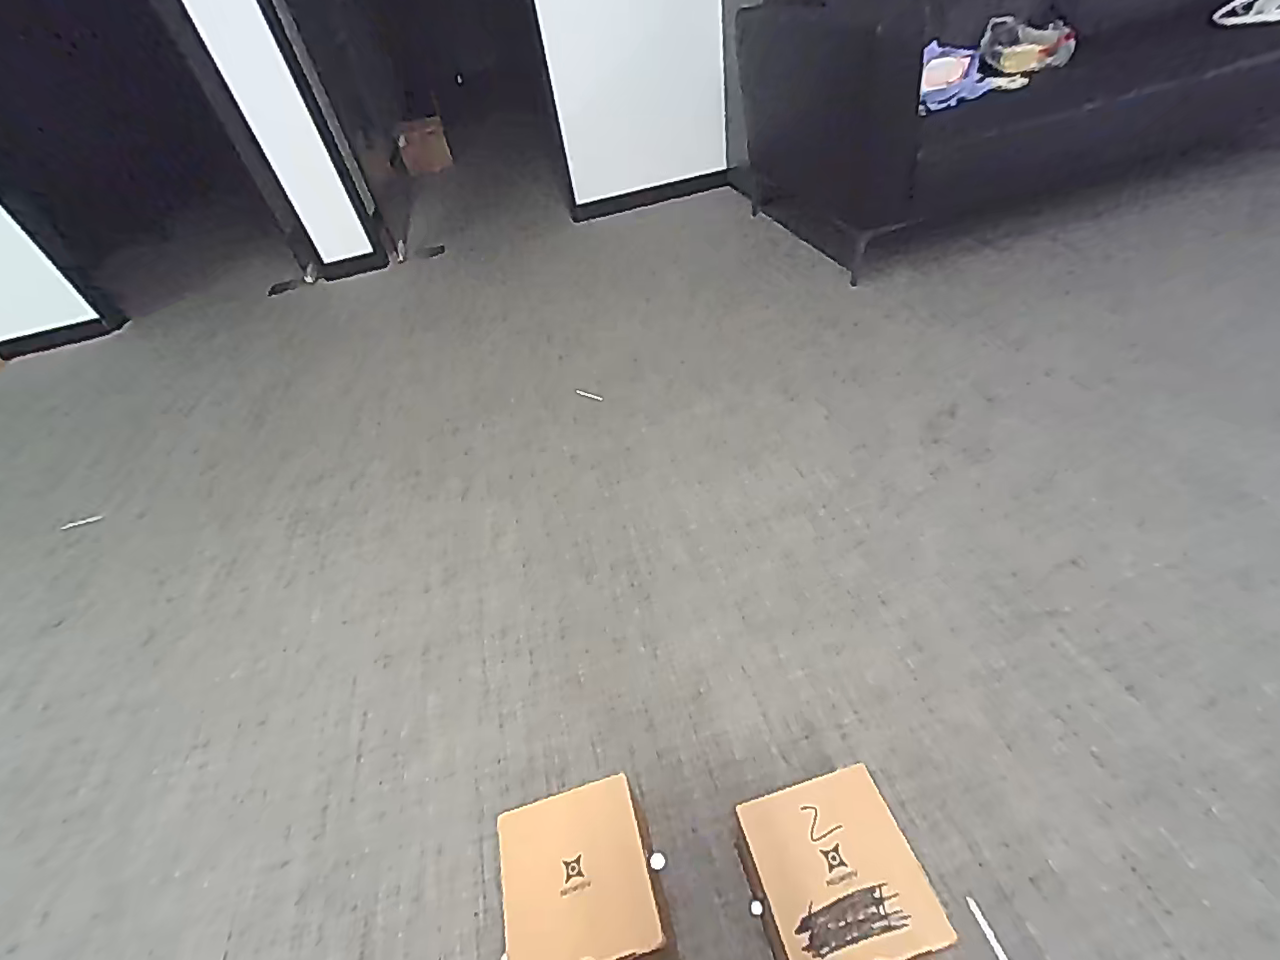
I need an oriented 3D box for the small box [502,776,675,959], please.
[{"bbox_3d":[-0.063,0.507,0.669,0.168,0.176,0.179,-16,43,-5],"label":"small box"}]
